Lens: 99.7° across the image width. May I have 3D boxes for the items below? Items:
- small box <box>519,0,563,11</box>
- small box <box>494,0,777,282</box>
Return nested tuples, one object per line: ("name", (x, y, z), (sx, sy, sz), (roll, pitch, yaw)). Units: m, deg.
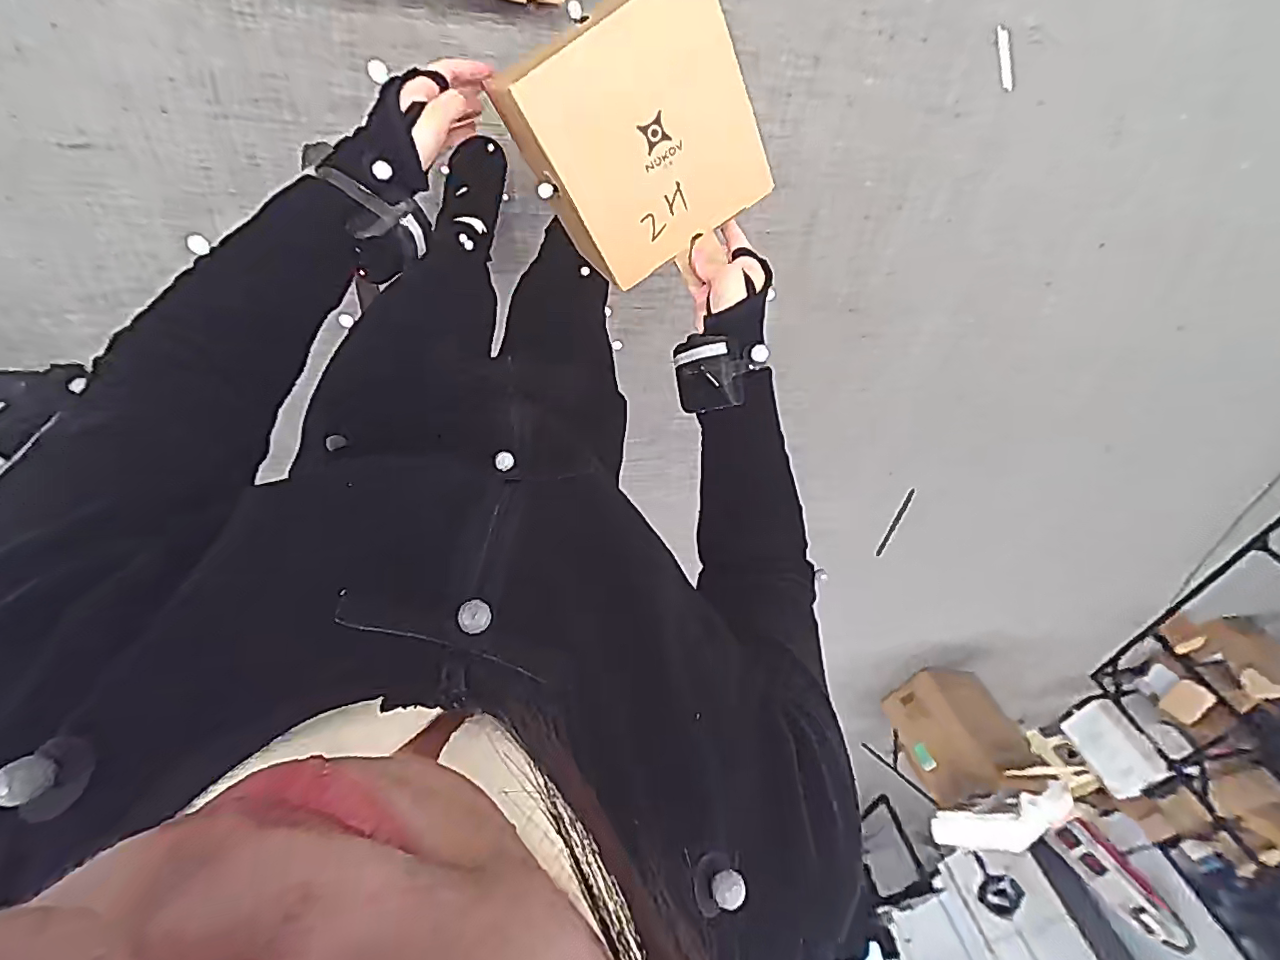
("small box", (-0.198, -0.869, 0.845), (0.168, 0.176, 0.179), (1, 129, -18))
("small box", (-0.011, -0.316, 0.487), (0.168, 0.176, 0.179), (-34, 129, 4))
